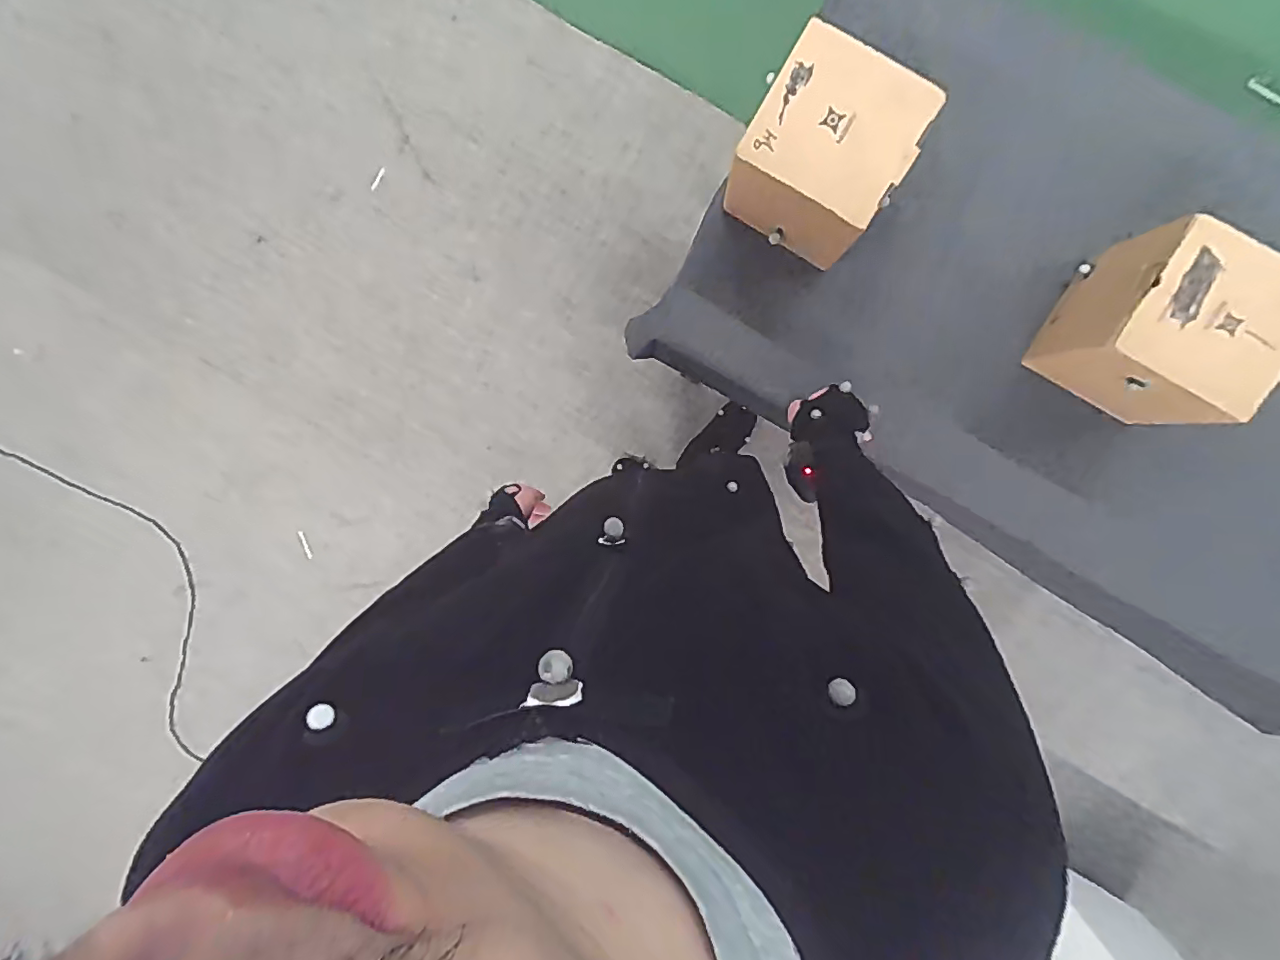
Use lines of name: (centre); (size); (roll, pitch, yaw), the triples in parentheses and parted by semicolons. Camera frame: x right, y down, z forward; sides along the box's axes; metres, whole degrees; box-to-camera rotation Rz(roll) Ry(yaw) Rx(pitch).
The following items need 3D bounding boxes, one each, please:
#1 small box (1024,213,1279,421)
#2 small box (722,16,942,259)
small box: (0.634, -0.184, 0.665); (0.179, 0.176, 0.168); (31, 99, 0)
small box: (0.221, -0.402, 0.676); (0.179, 0.176, 0.168); (32, 98, 0)
